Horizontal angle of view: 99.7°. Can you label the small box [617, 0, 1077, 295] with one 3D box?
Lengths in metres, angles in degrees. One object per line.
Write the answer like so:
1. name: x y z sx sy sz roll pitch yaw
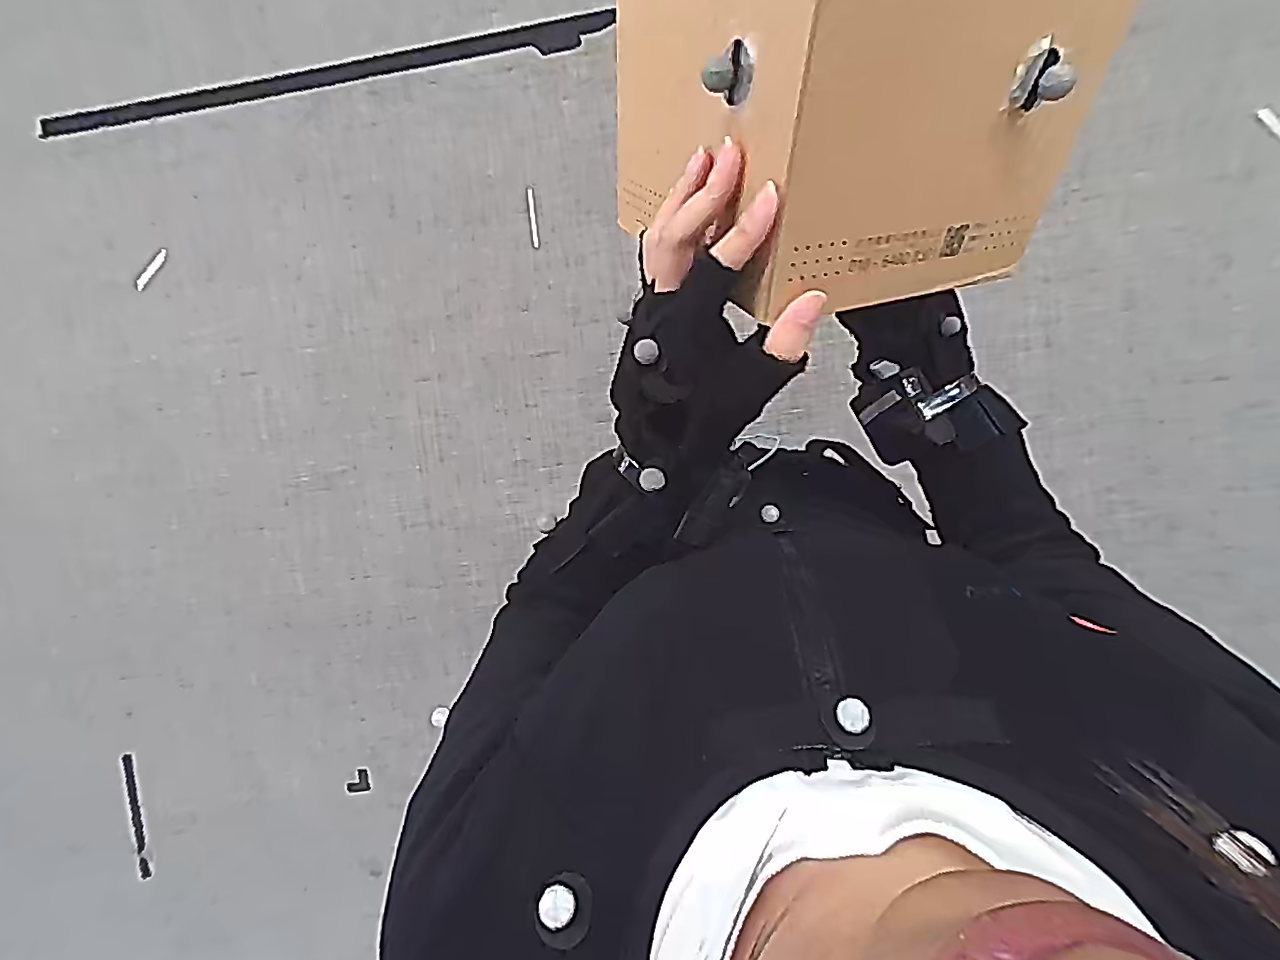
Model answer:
1. small box: 0.094 -0.210 0.296 0.168 0.179 0.176 -15 132 -18
